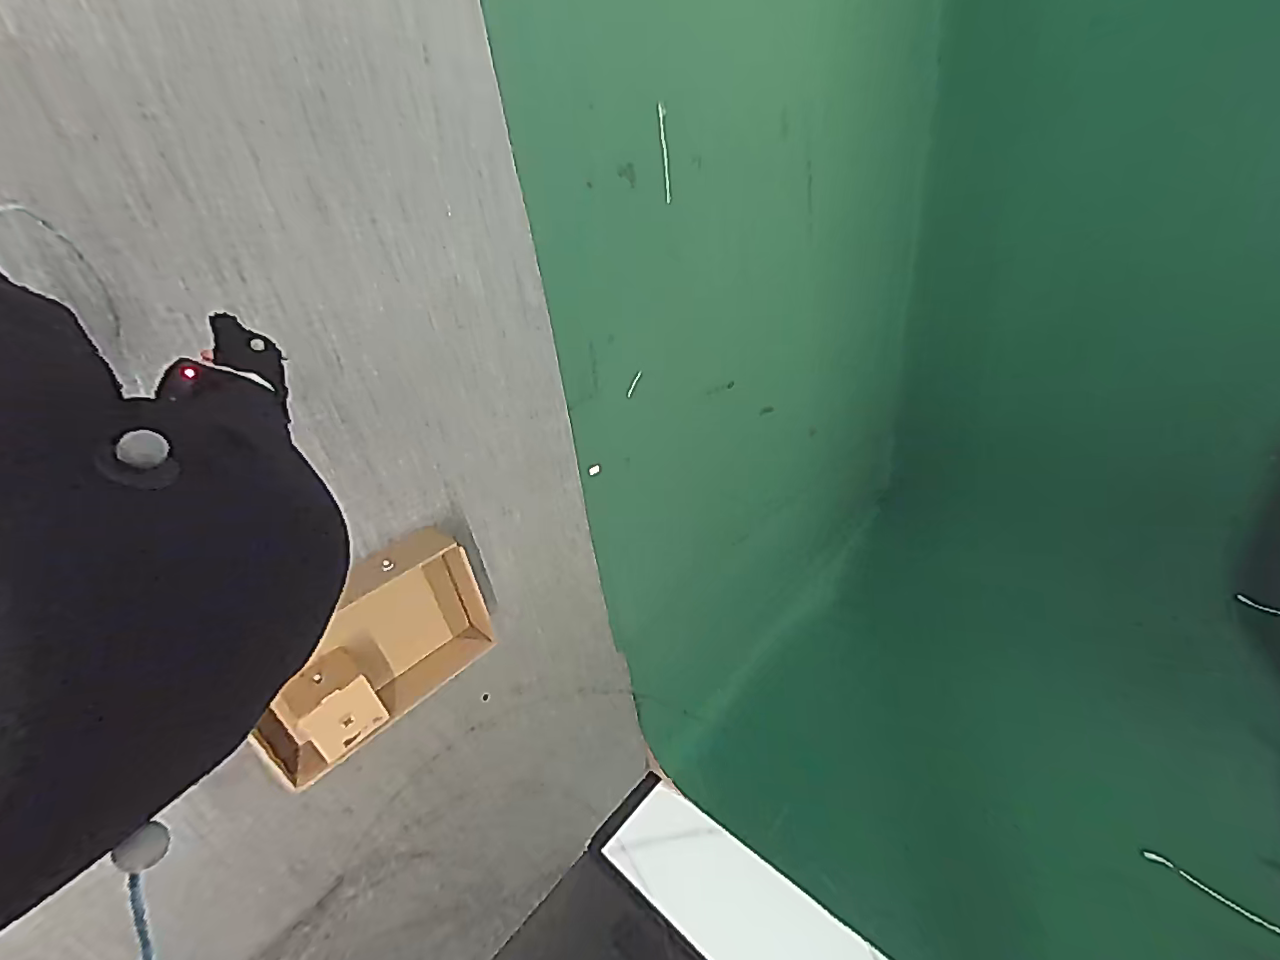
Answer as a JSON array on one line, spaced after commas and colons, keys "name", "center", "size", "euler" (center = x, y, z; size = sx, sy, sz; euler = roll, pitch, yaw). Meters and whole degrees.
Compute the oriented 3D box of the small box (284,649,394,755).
[{"name": "small box", "center": [-0.793, 0.571, 1.423], "size": [0.168, 0.176, 0.179], "euler": [-39, 131, -35]}]
